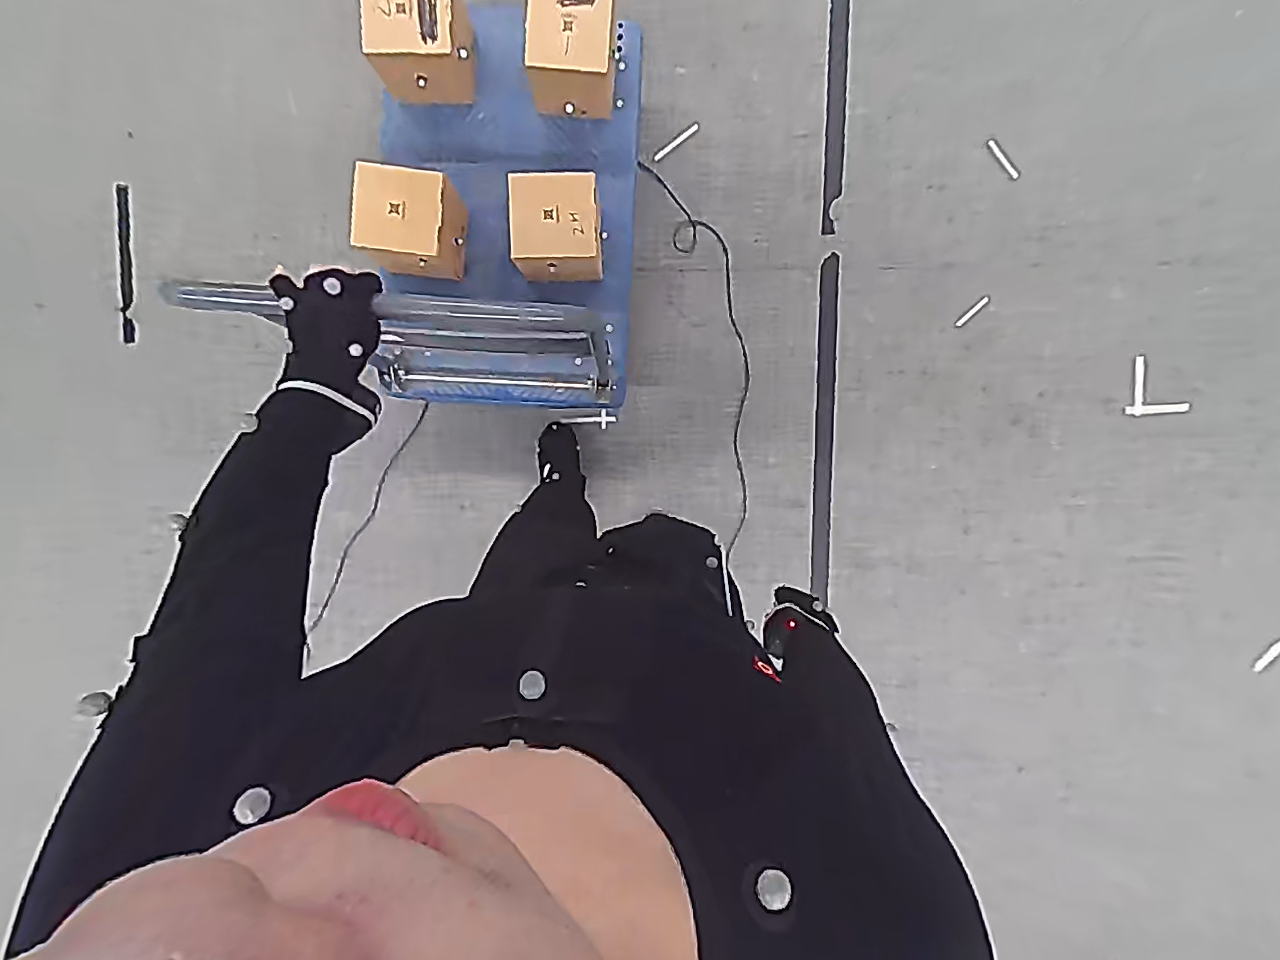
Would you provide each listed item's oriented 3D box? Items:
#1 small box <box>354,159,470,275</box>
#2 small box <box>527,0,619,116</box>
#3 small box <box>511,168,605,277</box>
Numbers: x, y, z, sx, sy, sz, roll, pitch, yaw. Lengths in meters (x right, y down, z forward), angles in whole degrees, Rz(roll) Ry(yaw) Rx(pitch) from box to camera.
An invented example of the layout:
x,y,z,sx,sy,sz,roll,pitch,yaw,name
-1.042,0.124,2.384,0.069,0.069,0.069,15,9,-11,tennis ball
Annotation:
x,y,z,sx,sy,sz,roll,pitch,yaw,name
-0.478,-0.550,1.152,0.179,0.176,0.168,6,95,-3,small box
-0.133,-0.902,1.123,0.168,0.176,0.179,5,96,-1,small box
-0.169,-0.541,1.155,0.179,0.176,0.168,-1,95,0,small box
